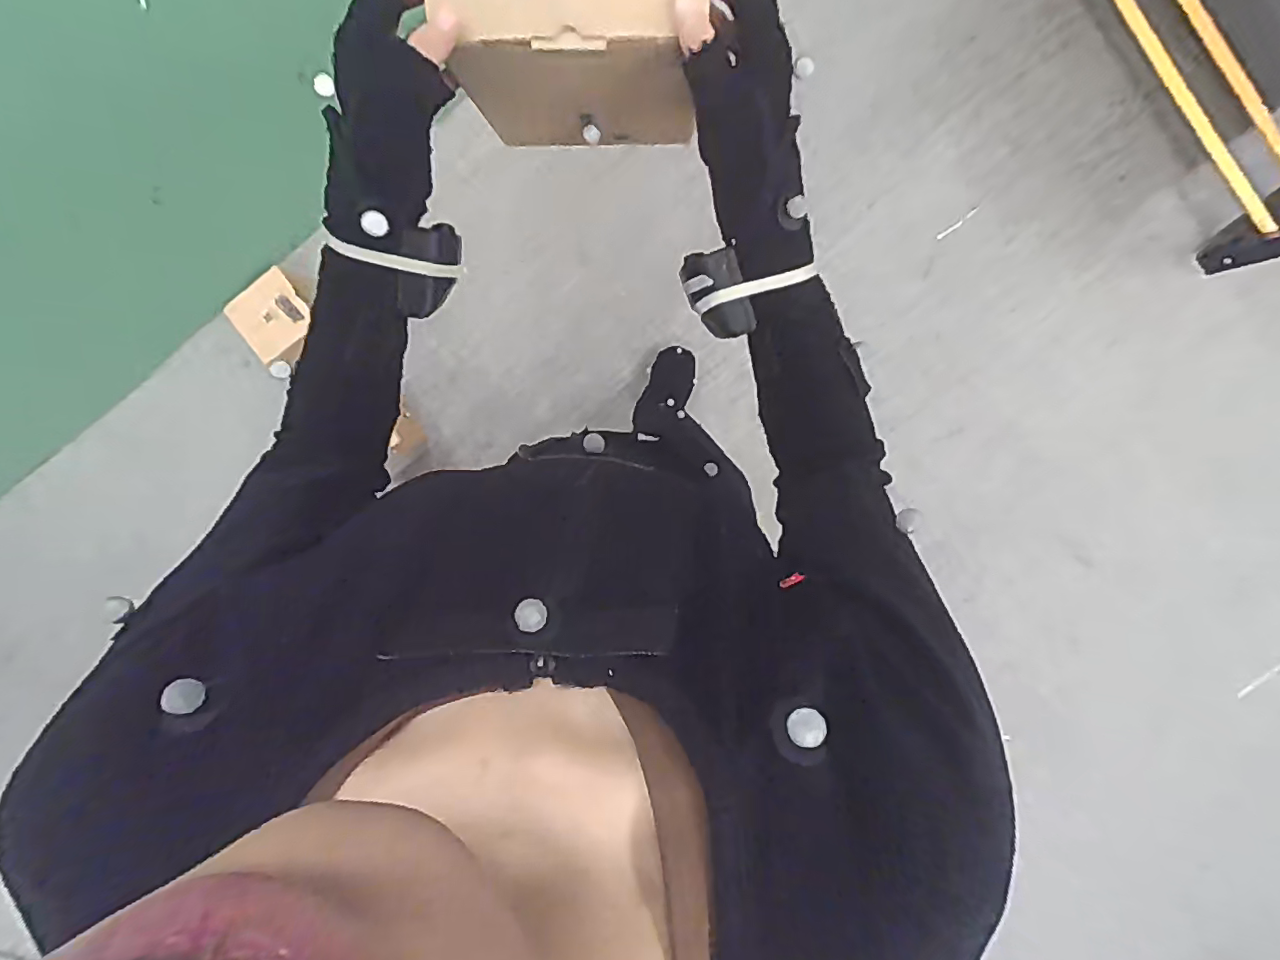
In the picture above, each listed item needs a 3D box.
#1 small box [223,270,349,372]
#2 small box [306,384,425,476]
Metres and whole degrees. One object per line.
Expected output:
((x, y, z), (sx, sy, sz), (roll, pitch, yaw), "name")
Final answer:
((-0.868, -0.390, 1.354), (0.179, 0.176, 0.168), (-36, 95, 5), "small box")
((-0.691, -0.127, 1.383), (0.179, 0.176, 0.168), (-31, 95, 4), "small box")
